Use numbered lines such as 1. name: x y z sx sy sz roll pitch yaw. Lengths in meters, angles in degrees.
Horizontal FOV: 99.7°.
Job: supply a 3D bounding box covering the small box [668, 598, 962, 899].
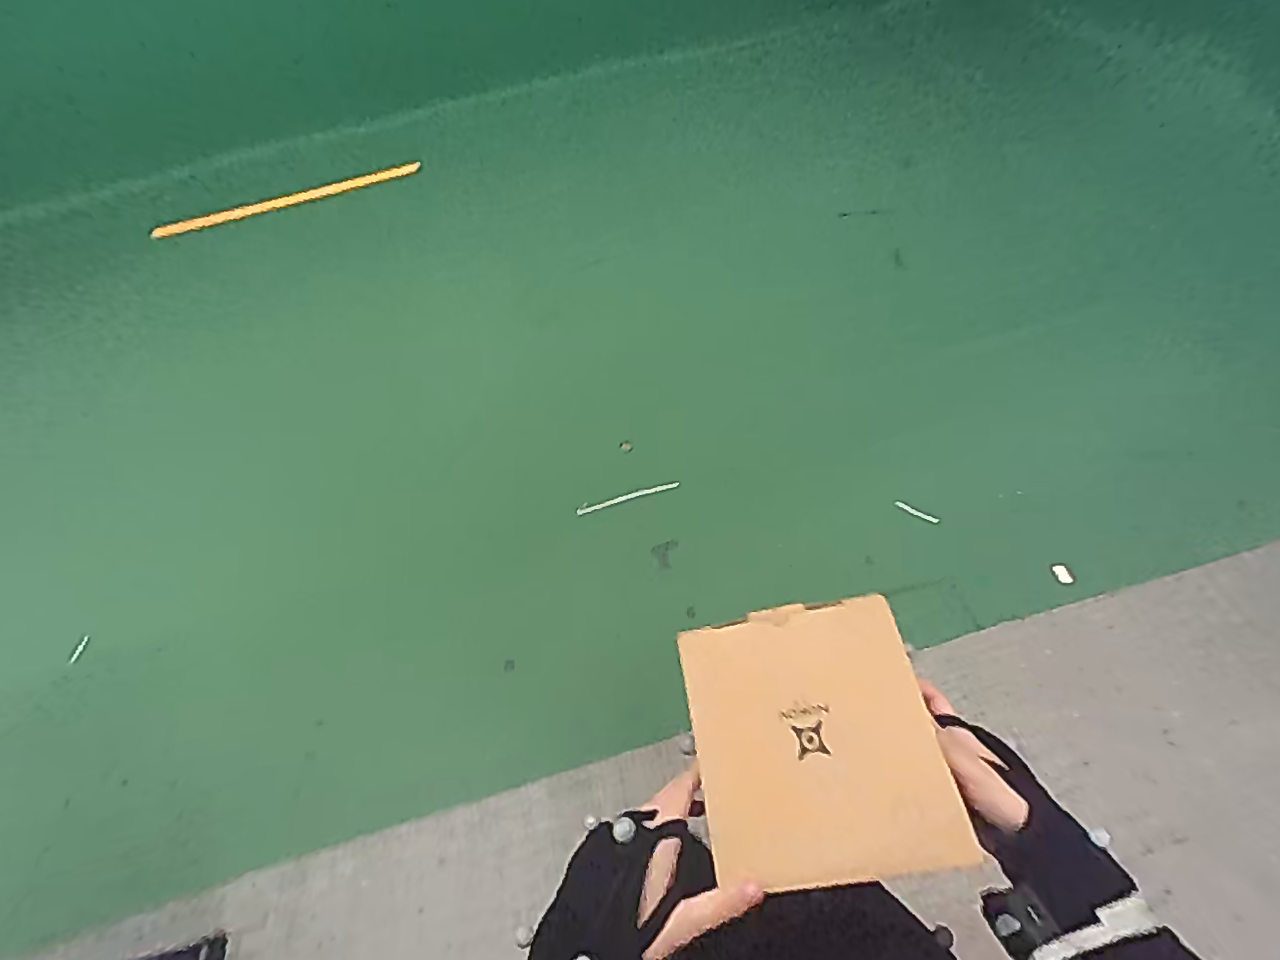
1. small box: 0.131 0.222 0.453 0.168 0.176 0.179 -14 56 8
